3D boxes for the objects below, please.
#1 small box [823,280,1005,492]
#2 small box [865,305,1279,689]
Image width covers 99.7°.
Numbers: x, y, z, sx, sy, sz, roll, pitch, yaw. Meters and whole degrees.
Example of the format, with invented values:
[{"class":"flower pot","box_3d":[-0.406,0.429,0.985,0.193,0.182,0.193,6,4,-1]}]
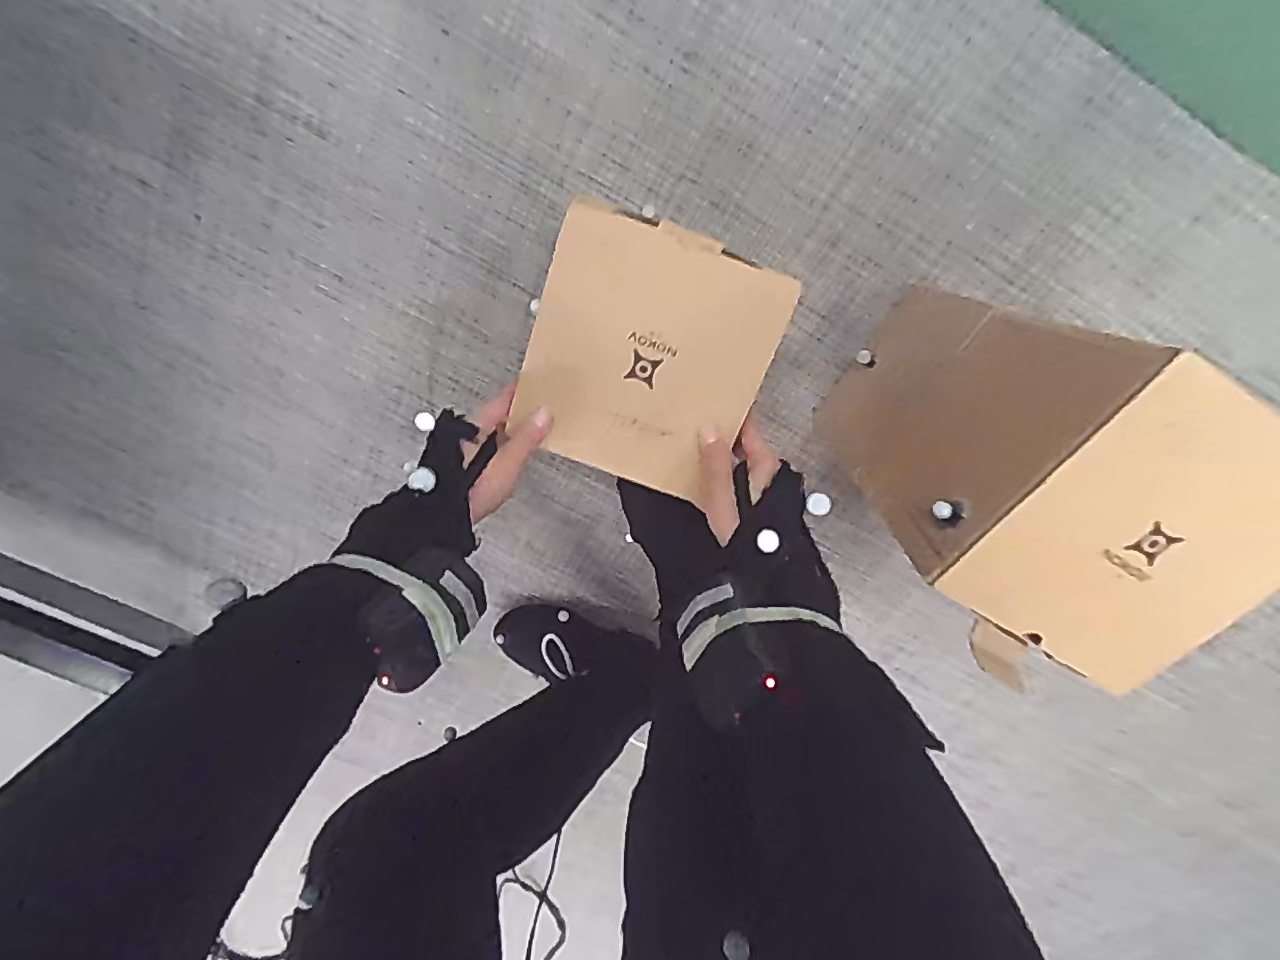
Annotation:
[{"class":"small box","box_3d":[0.302,-0.071,0.529,0.168,0.176,0.179,28,116,-9]},{"class":"small box","box_3d":[0.293,0.000,0.380,0.168,0.176,0.179,30,114,-10]}]
